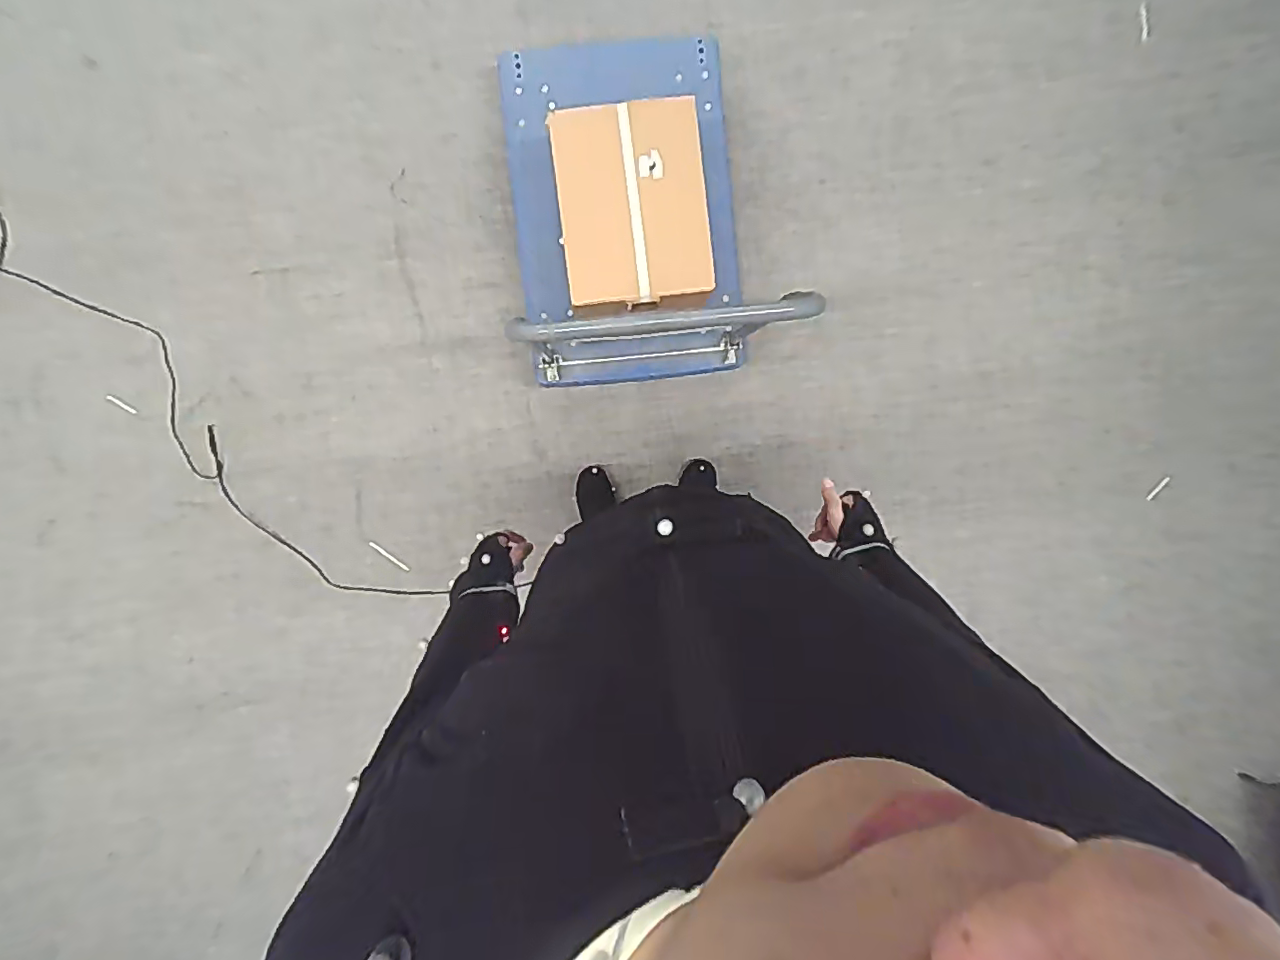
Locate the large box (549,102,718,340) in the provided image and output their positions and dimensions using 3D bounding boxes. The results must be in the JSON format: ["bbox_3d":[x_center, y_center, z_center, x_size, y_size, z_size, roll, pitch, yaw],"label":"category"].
[{"bbox_3d":[-0.015,-0.583,1.287,0.320,0.320,0.408,-7,92,-2],"label":"large box"}]
